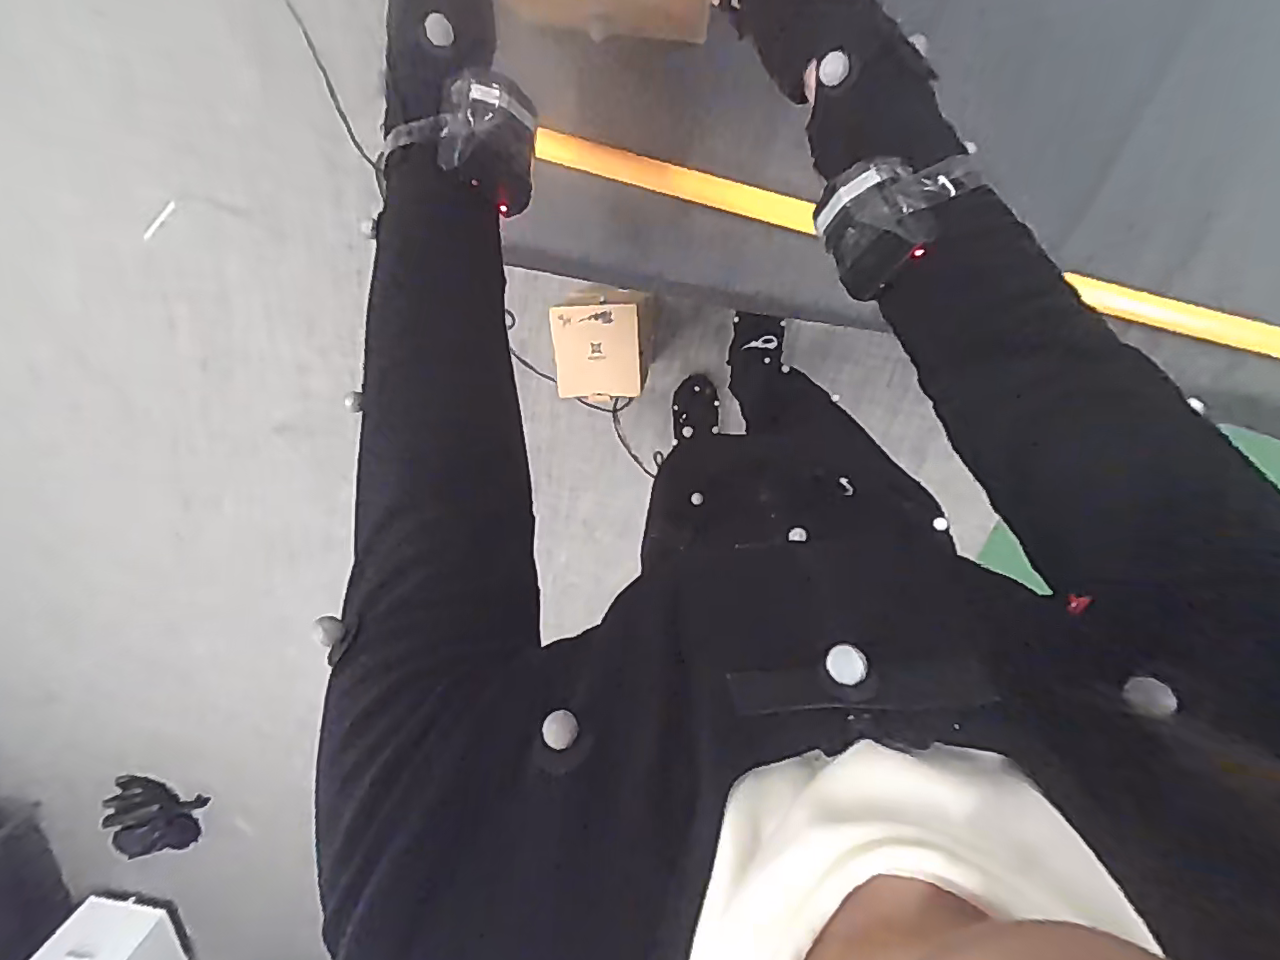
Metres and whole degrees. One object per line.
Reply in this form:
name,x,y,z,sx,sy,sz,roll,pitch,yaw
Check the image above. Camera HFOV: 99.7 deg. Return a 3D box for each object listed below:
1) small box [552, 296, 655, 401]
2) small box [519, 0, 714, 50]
small box,-0.065,-0.269,1.098,0.168,0.176,0.179,-2,113,11
small box,-0.018,-0.443,0.383,0.168,0.176,0.179,10,118,3
